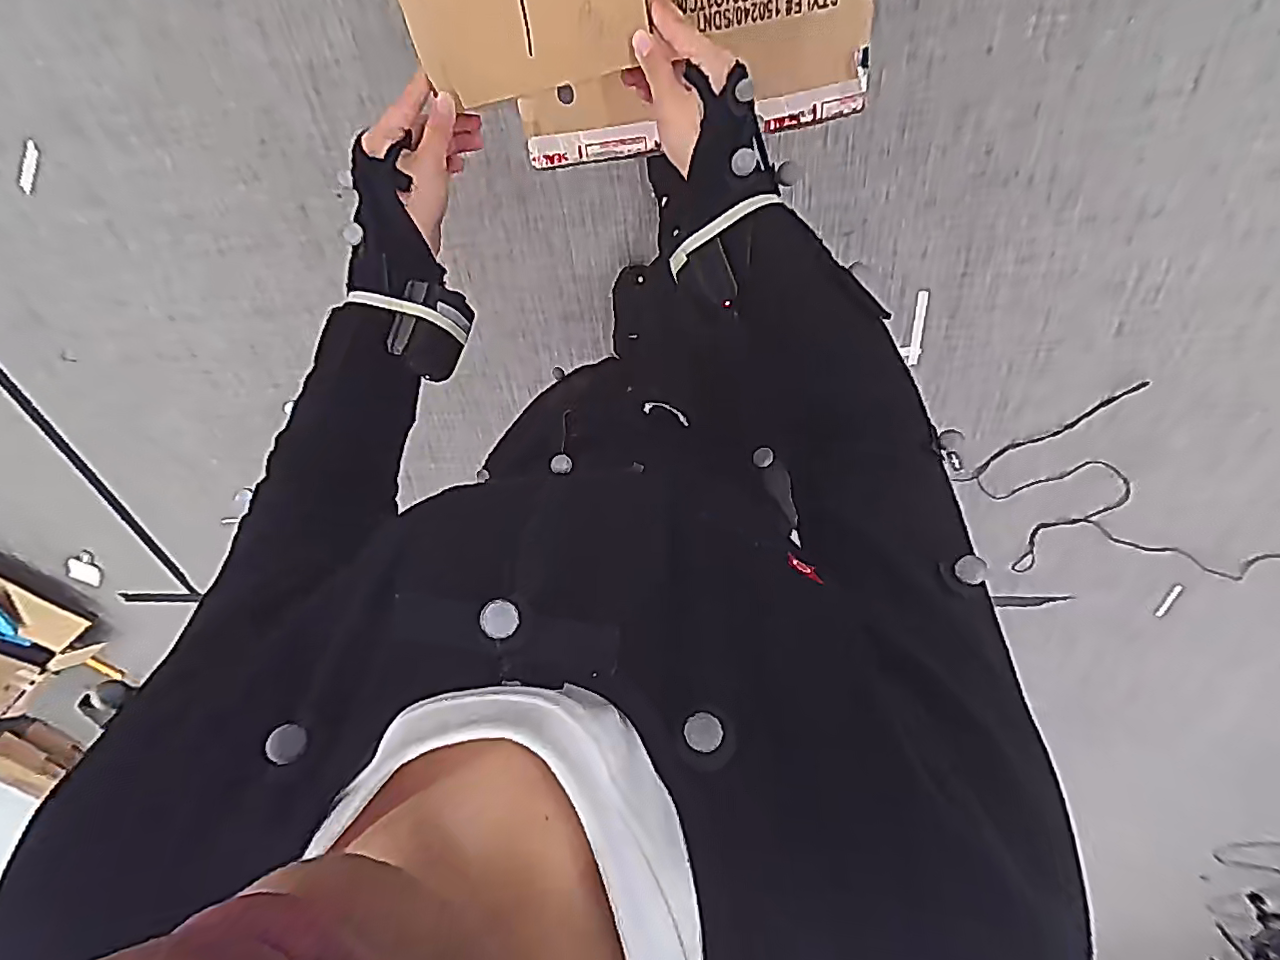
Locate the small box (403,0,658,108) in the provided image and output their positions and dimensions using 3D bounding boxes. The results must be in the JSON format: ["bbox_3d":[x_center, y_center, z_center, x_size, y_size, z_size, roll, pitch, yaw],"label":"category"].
[{"bbox_3d":[-0.081,-0.403,0.400,0.168,0.176,0.179,-7,129,10],"label":"small box"}]
